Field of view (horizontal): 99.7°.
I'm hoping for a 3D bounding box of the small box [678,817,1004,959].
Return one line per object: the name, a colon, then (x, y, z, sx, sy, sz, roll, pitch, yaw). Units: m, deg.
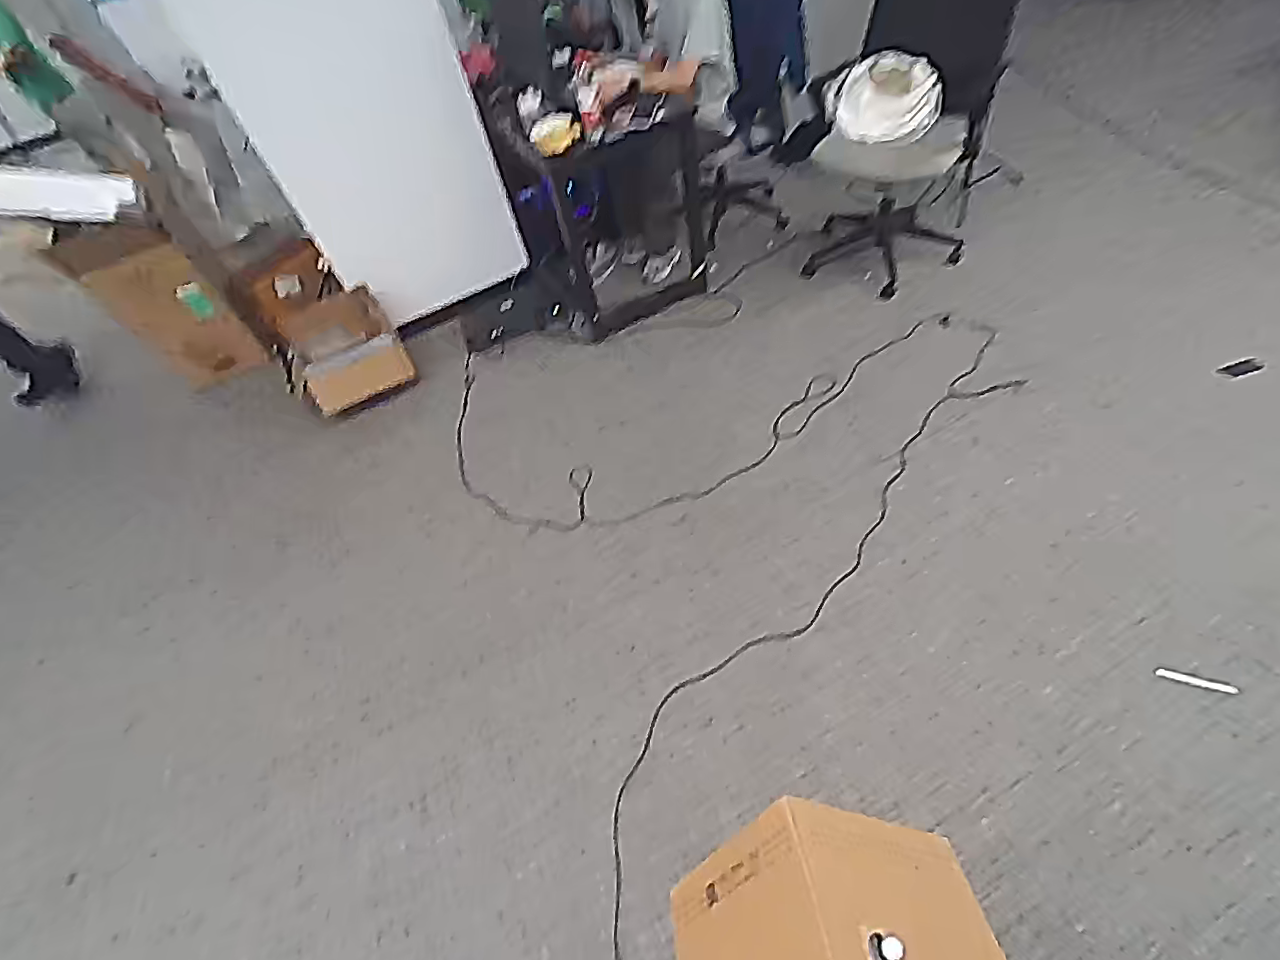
small box: (0.144, 0.369, 0.381, 0.179, 0.168, 0.176, 24, 29, -19)
